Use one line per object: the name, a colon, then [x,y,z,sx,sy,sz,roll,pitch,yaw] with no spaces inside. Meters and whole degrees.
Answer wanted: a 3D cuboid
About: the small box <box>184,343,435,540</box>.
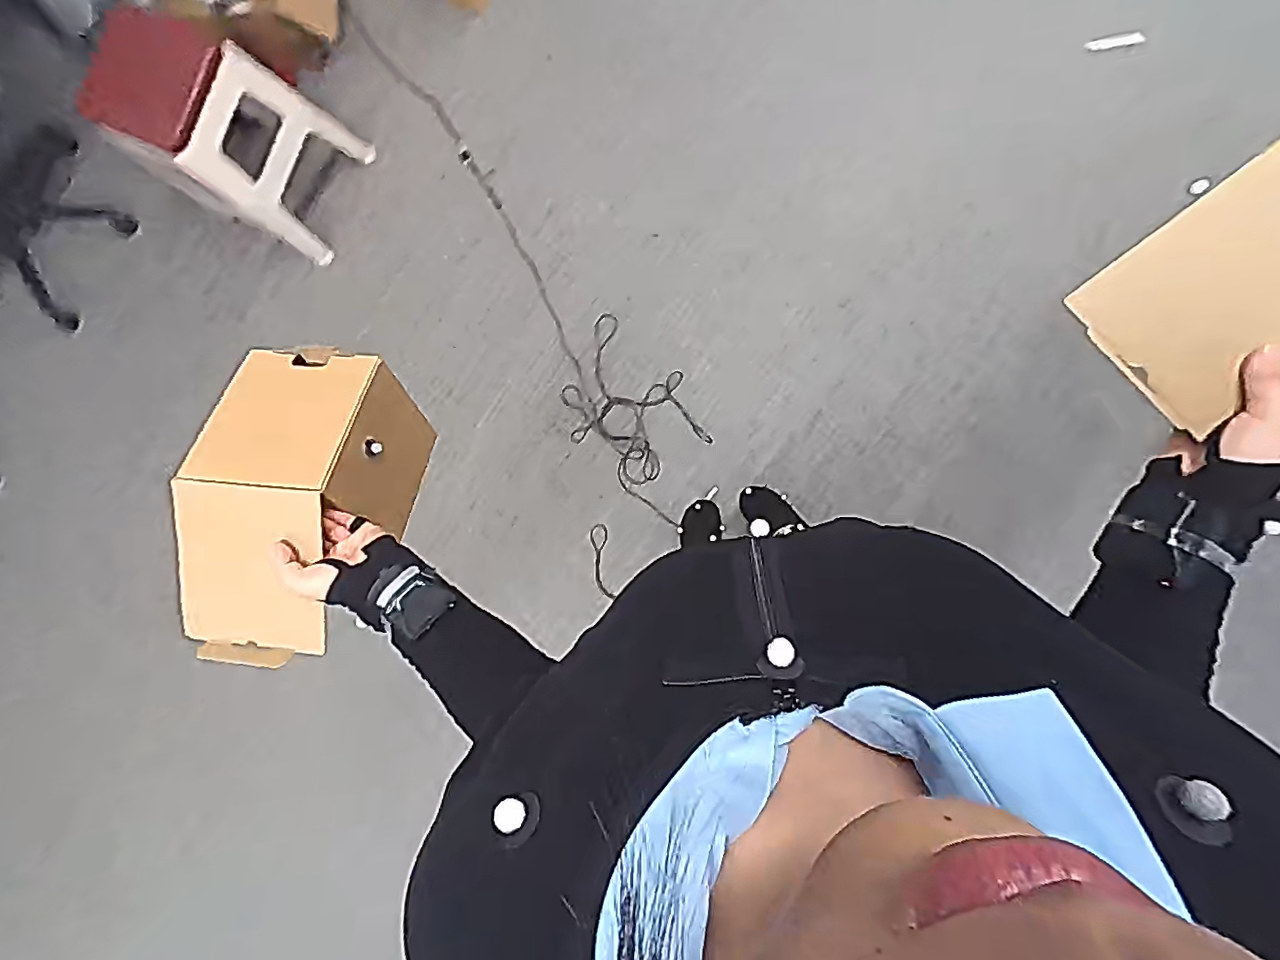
small box: [-0.375,-0.040,0.656,0.168,0.176,0.179,6,62,6]
